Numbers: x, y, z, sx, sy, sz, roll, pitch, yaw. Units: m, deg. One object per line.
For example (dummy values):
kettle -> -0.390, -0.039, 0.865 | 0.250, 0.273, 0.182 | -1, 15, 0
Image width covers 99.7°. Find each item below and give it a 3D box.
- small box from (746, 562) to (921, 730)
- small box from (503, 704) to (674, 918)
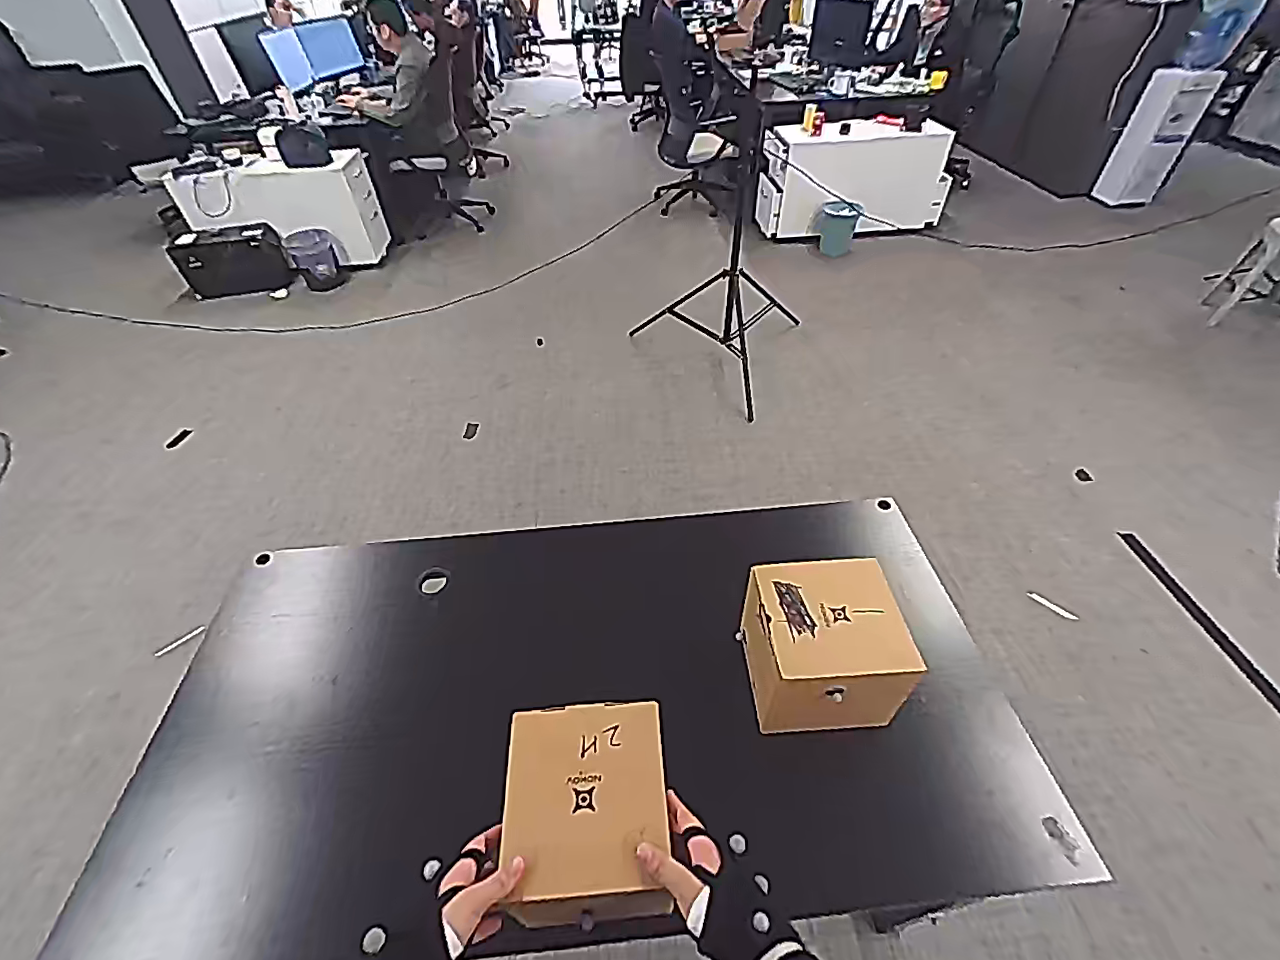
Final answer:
small box -> 0.249, 0.233, 0.752 | 0.179, 0.176, 0.168 | -3, 45, -1
small box -> -0.050, 0.381, 0.619 | 0.168, 0.176, 0.179 | -4, 45, -2
